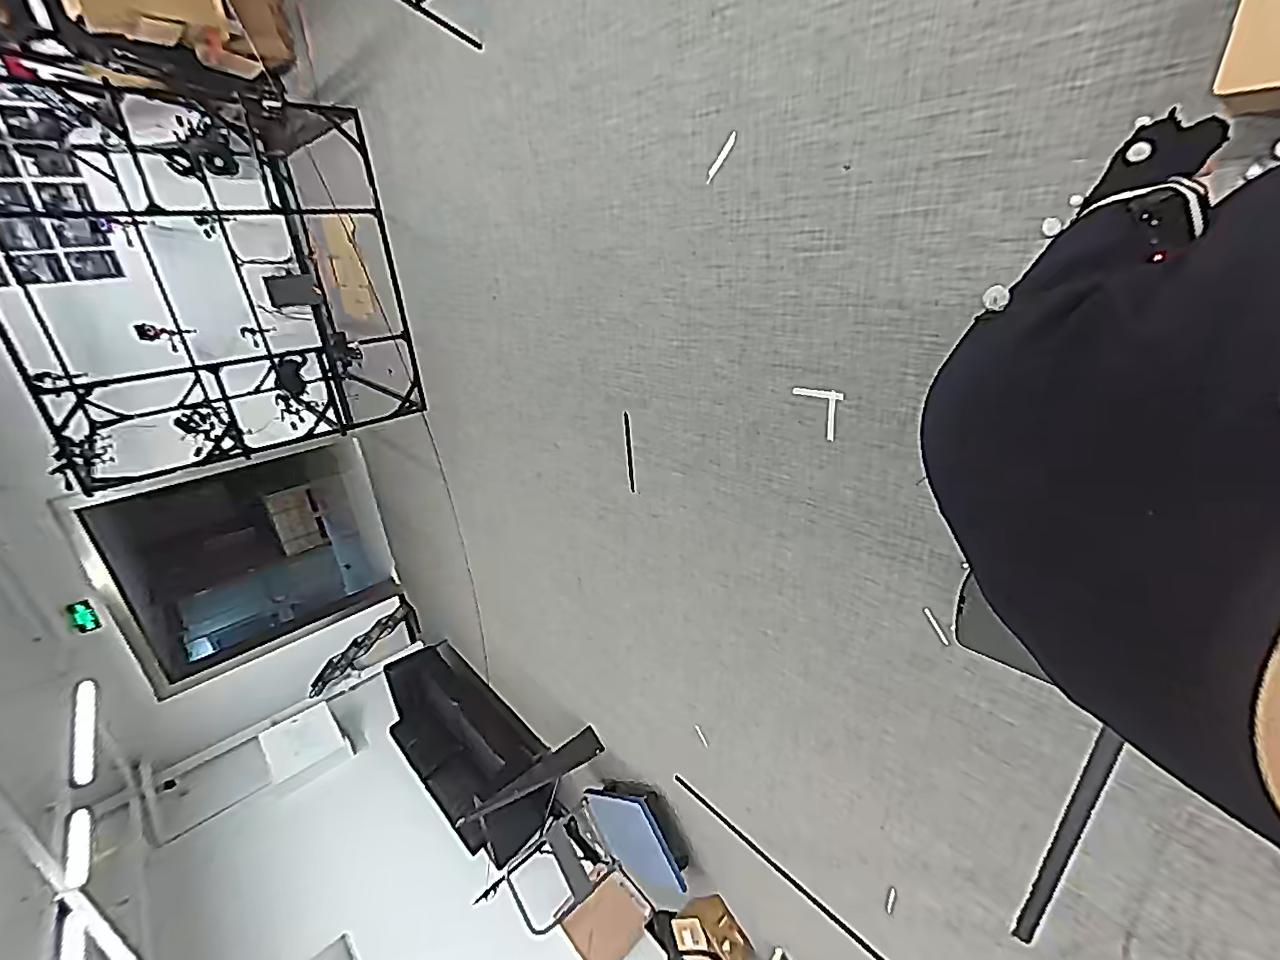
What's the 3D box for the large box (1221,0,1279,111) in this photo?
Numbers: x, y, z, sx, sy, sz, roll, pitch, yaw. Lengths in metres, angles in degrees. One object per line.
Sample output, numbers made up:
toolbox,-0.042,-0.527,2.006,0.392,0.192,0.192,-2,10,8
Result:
large box,1.034,-0.677,0.645,0.408,0.320,0.320,21,124,43
